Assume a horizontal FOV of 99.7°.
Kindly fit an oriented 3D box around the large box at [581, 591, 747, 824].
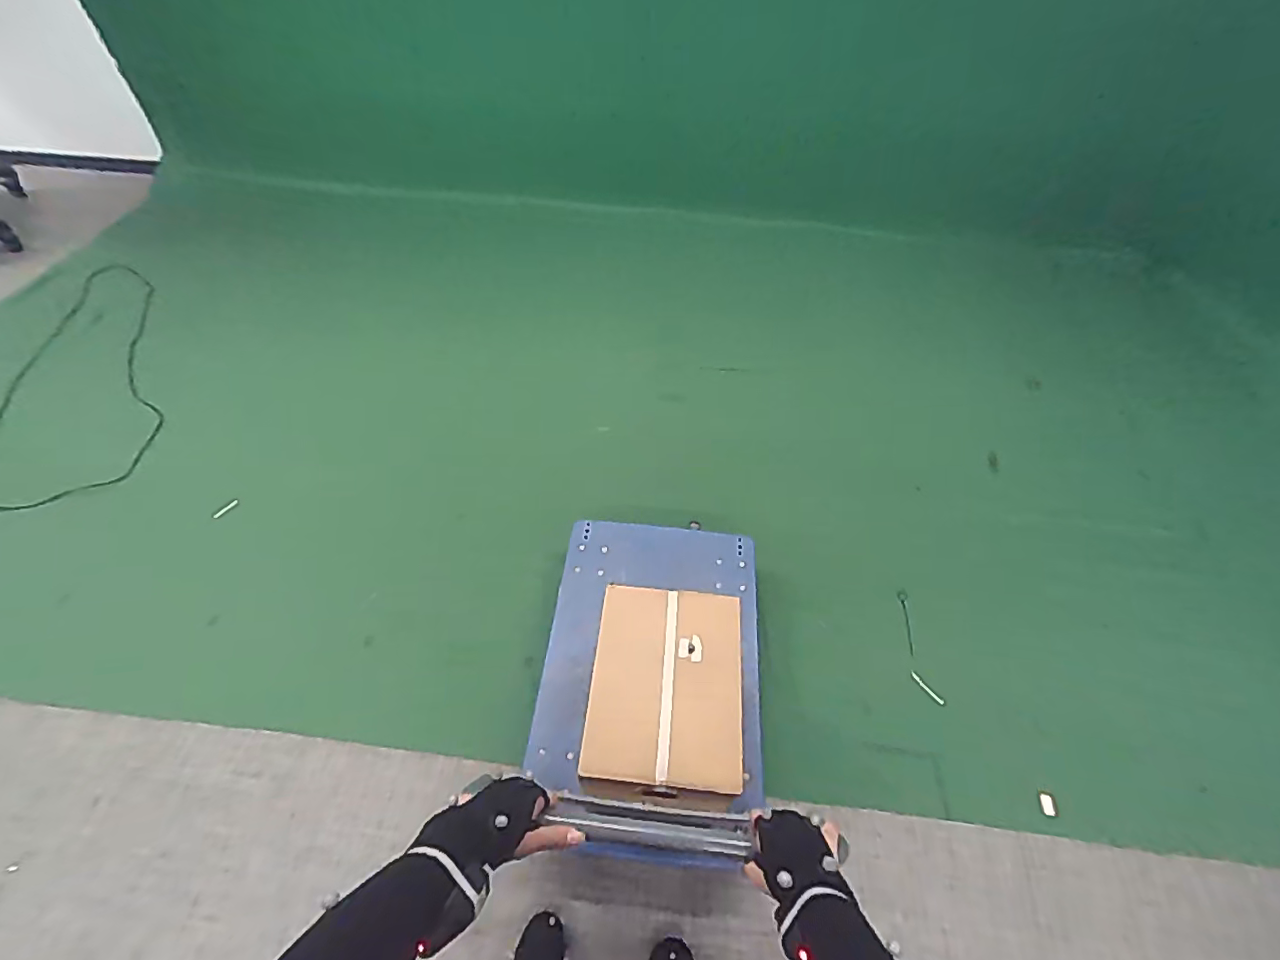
[{"bbox_3d":[0.055,0.517,1.229,0.320,0.320,0.408,6,50,2],"label":"large box"}]
